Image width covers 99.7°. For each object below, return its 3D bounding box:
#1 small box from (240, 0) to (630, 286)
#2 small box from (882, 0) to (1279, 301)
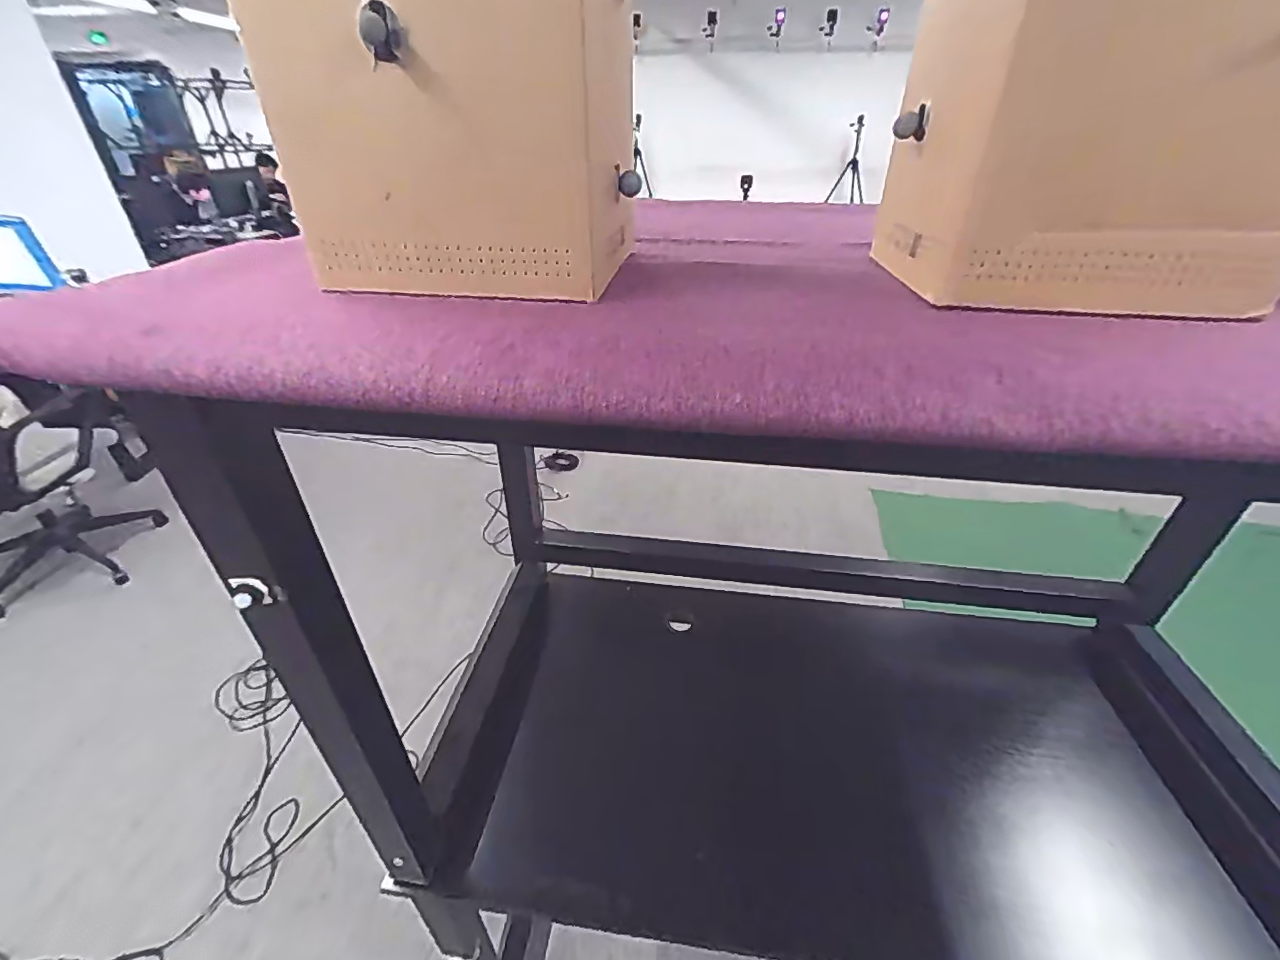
[{"bbox_3d":[-0.104,-0.226,0.336,0.179,0.176,0.168,4,35,5],"label":"small box"},{"bbox_3d":[0.258,-0.208,0.316,0.179,0.176,0.168,4,32,6],"label":"small box"}]
